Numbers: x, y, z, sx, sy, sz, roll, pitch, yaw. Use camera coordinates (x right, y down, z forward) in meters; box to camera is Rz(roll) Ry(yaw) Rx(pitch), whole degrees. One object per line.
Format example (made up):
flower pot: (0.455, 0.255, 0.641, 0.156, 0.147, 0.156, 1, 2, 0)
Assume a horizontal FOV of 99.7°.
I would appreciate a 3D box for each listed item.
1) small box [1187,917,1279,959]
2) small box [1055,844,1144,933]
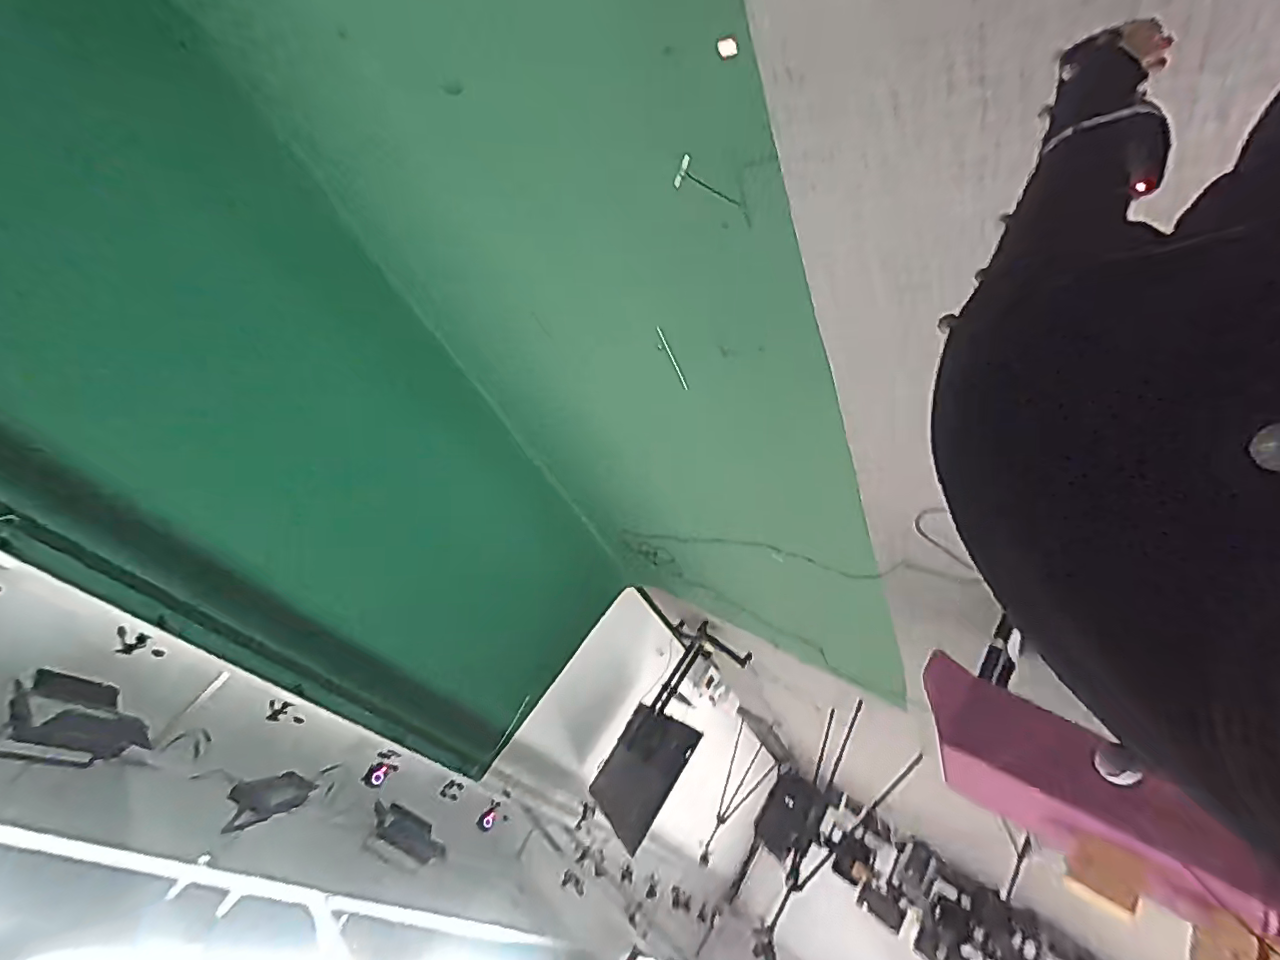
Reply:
small box: (1.752, 1.423, 1.569, 0.179, 0.176, 0.168, 26, 154, 33)
small box: (1.511, 1.335, 1.782, 0.179, 0.176, 0.168, 19, 151, 40)
